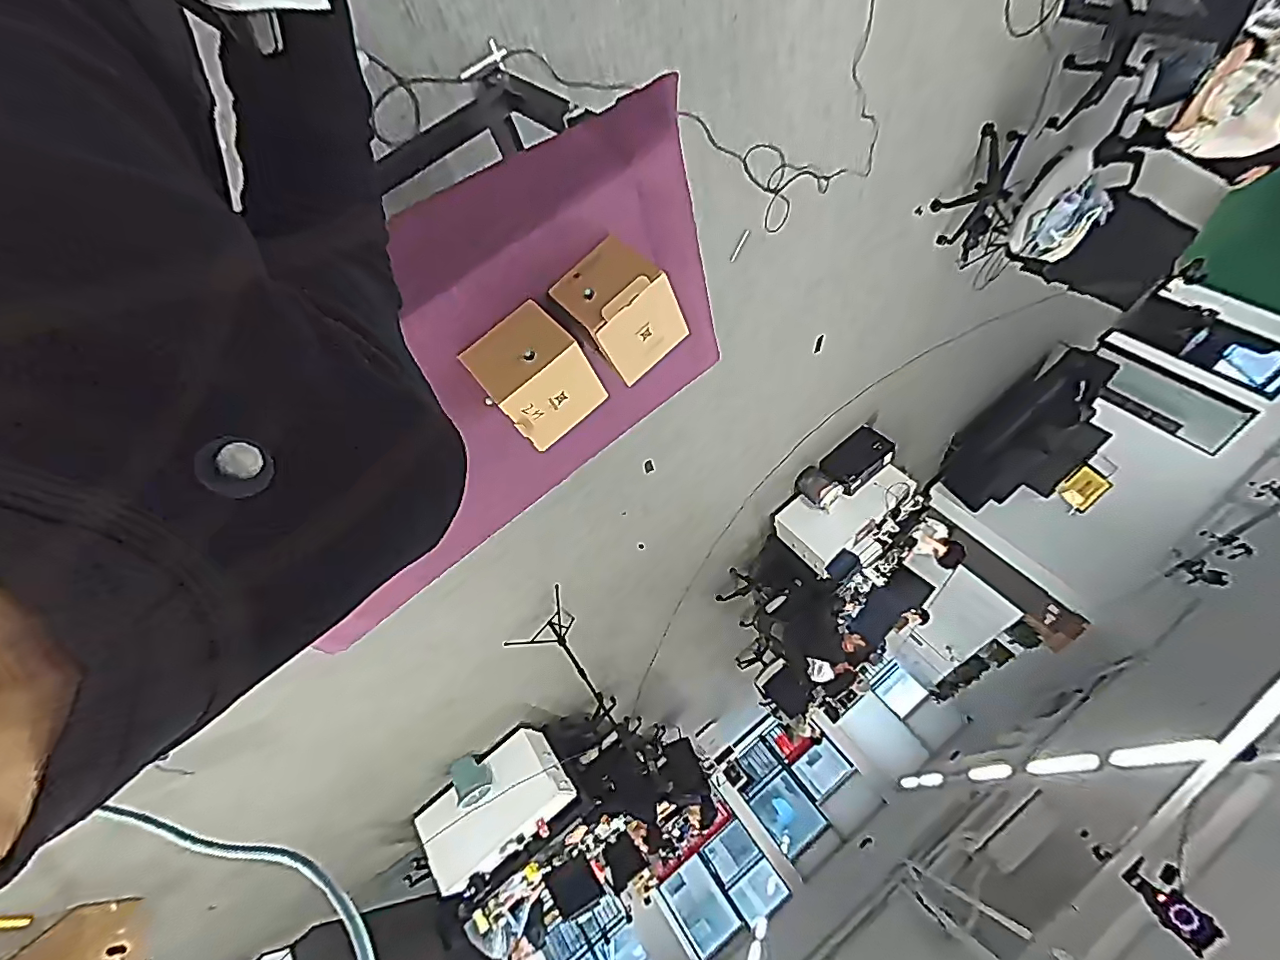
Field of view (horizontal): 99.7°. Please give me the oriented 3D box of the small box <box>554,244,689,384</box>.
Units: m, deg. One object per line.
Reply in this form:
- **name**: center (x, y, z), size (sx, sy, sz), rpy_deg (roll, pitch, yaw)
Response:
- **small box**: center (-0.036, -0.327, 1.046), size (0.168, 0.176, 0.179), rpy_deg (-42, 149, -1)

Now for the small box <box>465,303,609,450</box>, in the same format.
- **small box**: center (-0.194, -0.198, 1.020), size (0.179, 0.176, 0.168), rpy_deg (-40, 148, -4)
